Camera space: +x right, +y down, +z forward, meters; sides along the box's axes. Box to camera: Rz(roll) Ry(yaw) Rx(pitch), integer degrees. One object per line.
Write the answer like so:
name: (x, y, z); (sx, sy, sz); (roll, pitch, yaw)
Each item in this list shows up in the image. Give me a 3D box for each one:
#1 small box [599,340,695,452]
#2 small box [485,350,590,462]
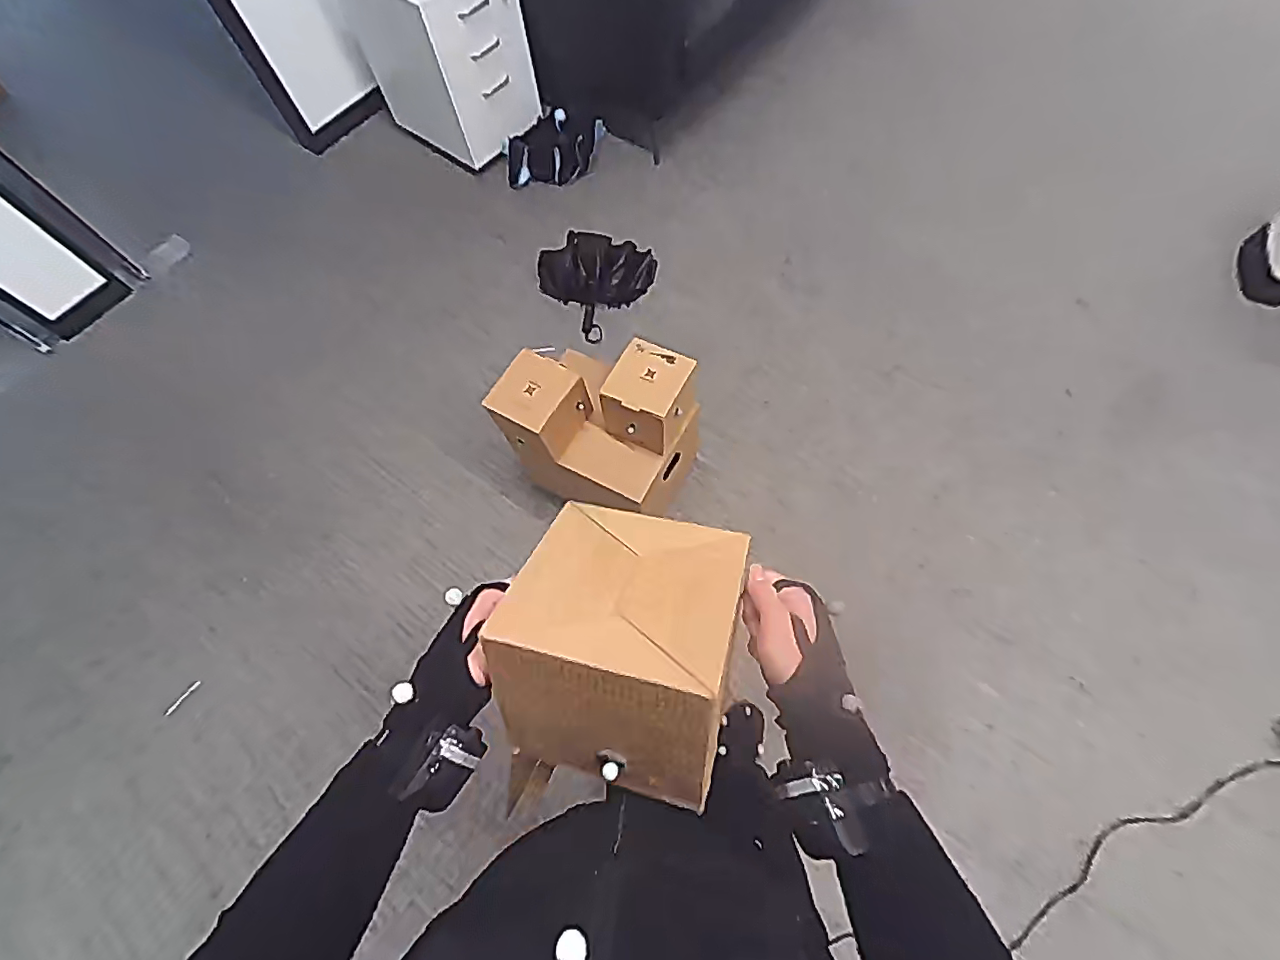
small box: (0.022, -0.194, 1.292); (0.168, 0.176, 0.179); (24, 69, 14)
small box: (-0.236, -0.173, 1.304); (0.168, 0.176, 0.179); (27, 75, 16)
